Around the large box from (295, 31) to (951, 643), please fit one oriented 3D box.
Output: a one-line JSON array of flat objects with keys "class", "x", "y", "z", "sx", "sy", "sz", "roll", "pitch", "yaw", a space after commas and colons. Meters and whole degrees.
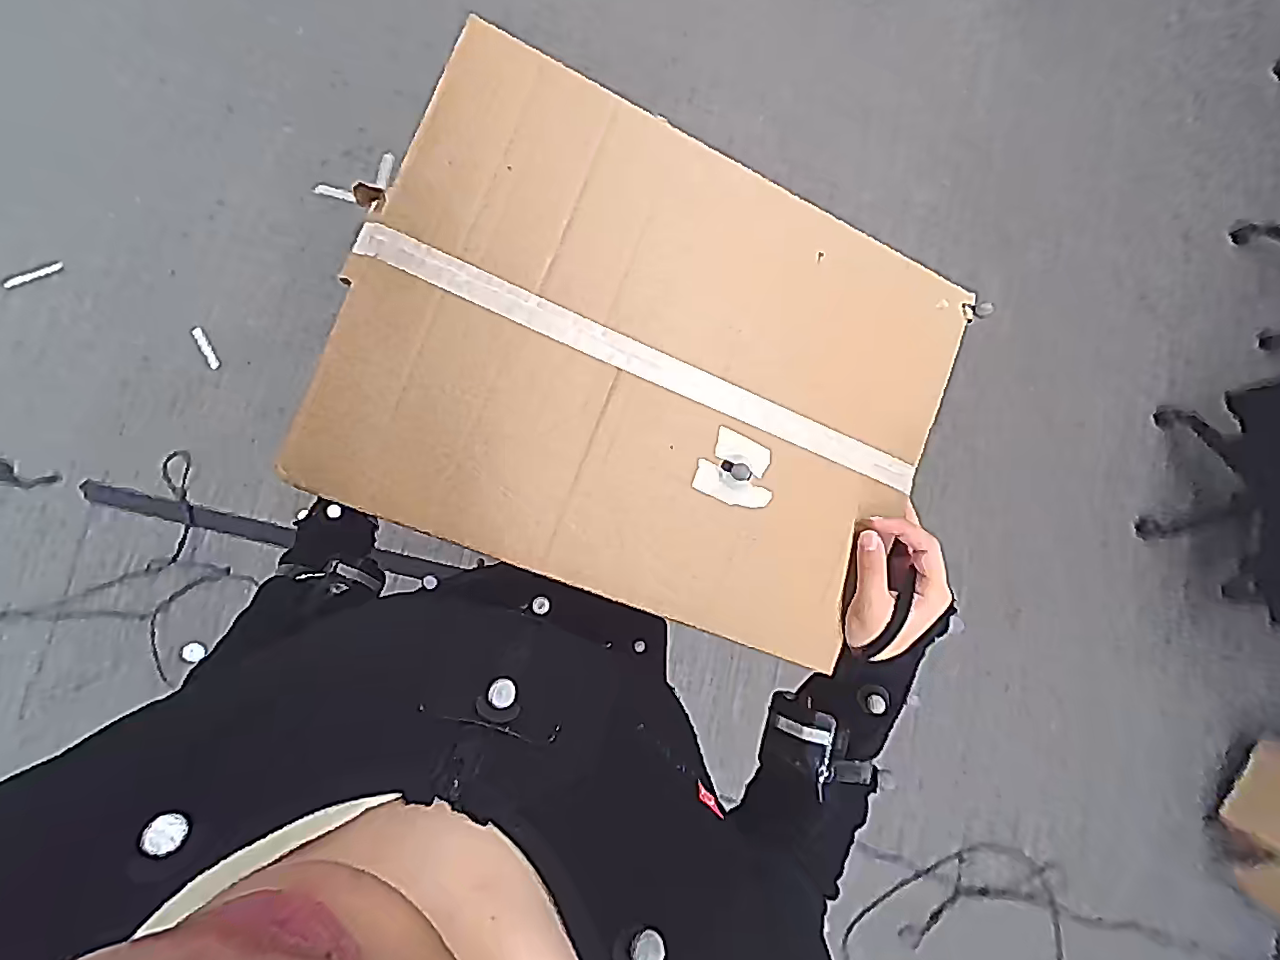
[{"class": "large box", "x": -0.016, "y": -0.084, "z": 0.522, "sx": 0.408, "sy": 0.320, "sz": 0.320, "roll": 21, "pitch": 87, "yaw": -13}]
